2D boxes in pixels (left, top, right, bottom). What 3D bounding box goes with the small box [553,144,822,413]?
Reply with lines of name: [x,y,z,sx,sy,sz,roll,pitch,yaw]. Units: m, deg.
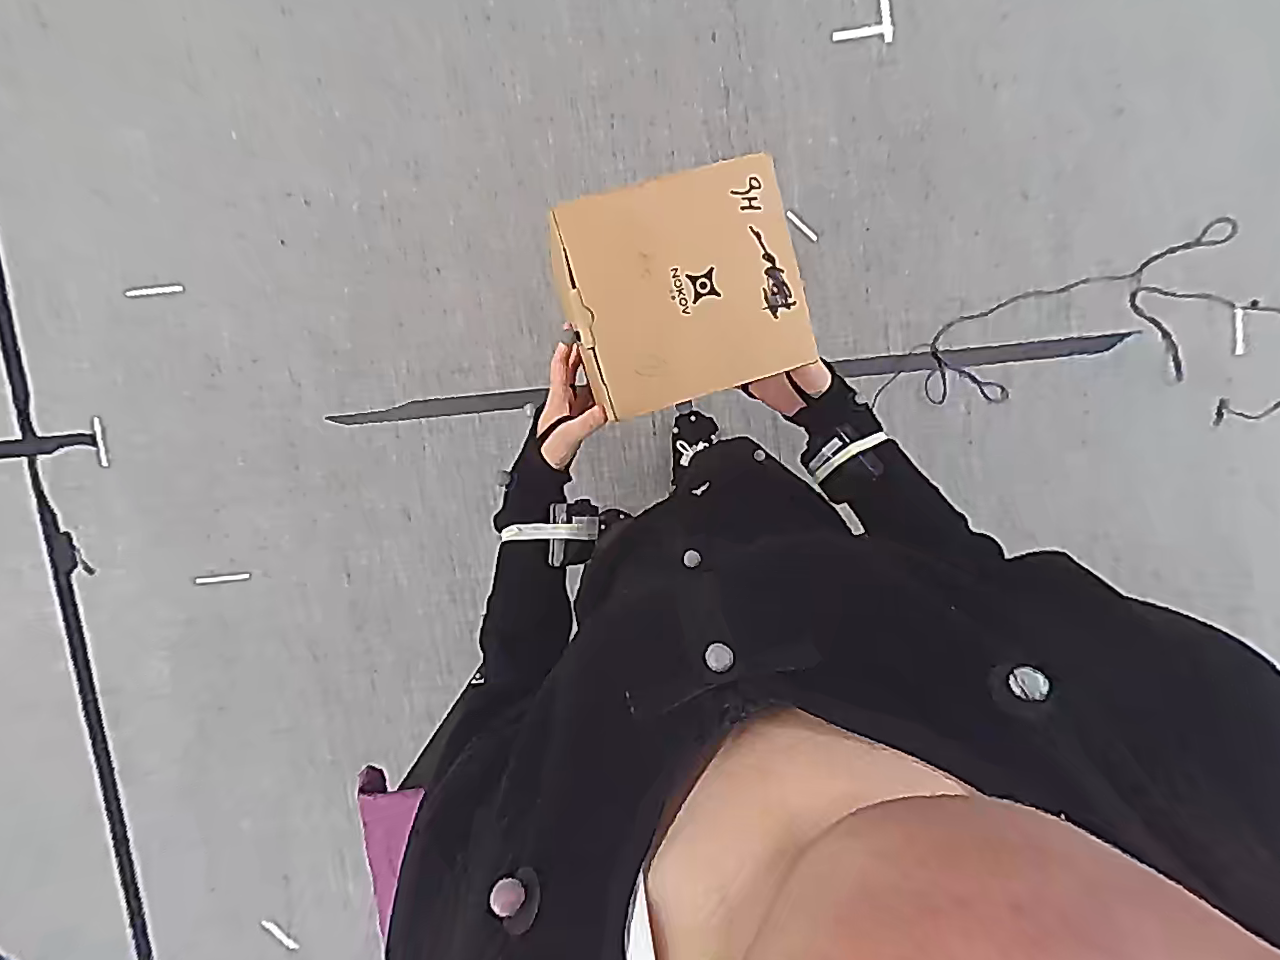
small box: [0.032,-0.160,0.488,0.179,0.176,0.168,-18,99,-5]
